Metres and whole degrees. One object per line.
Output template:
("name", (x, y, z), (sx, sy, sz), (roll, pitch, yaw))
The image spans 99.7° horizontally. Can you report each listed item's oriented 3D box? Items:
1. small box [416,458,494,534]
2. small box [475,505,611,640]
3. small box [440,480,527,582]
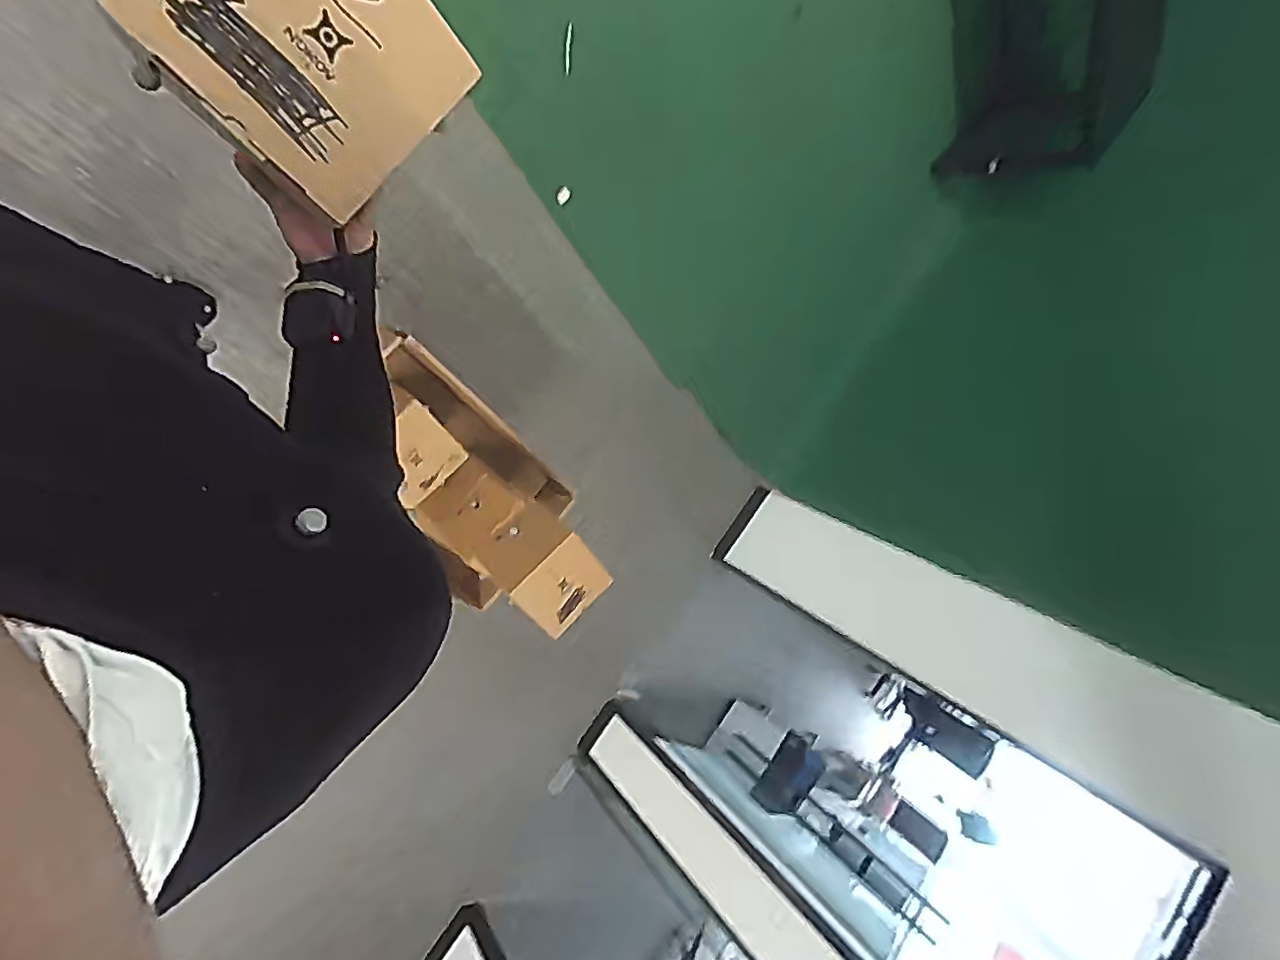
("small box", (-0.402, 0.071, 1.309), (0.168, 0.176, 0.179), (-52, 134, -10))
("small box", (-0.194, 0.179, 1.082), (0.168, 0.176, 0.179), (-45, 132, -16))
("small box", (-0.301, 0.124, 1.193), (0.168, 0.176, 0.179), (-52, 134, -9))
